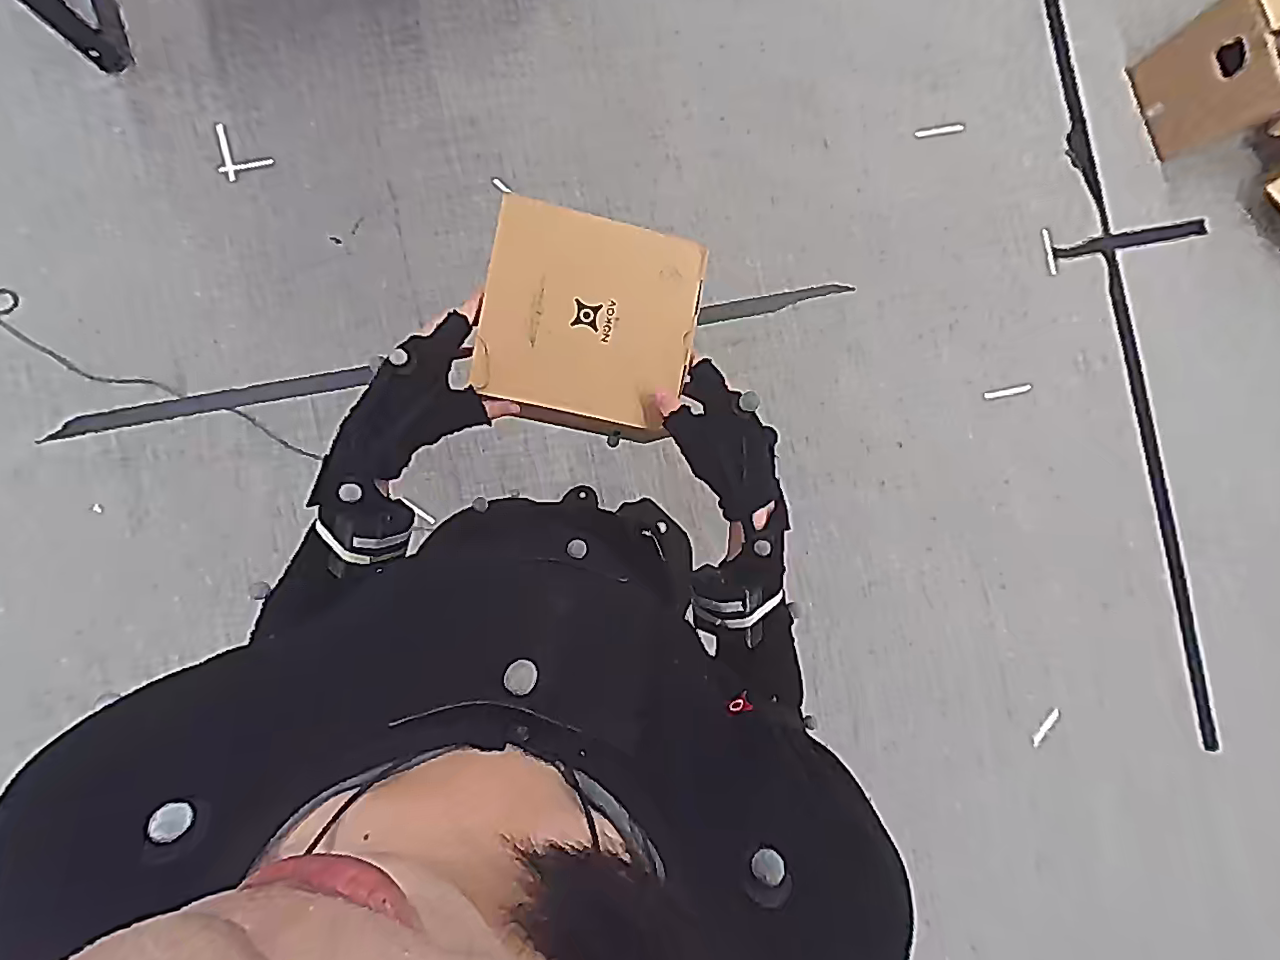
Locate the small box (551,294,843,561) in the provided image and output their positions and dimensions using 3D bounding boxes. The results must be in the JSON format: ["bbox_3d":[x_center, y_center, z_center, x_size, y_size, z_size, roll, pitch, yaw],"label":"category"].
[{"bbox_3d":[0.056,-0.052,0.501,0.176,0.168,0.179,-26,87,-45],"label":"small box"}]
